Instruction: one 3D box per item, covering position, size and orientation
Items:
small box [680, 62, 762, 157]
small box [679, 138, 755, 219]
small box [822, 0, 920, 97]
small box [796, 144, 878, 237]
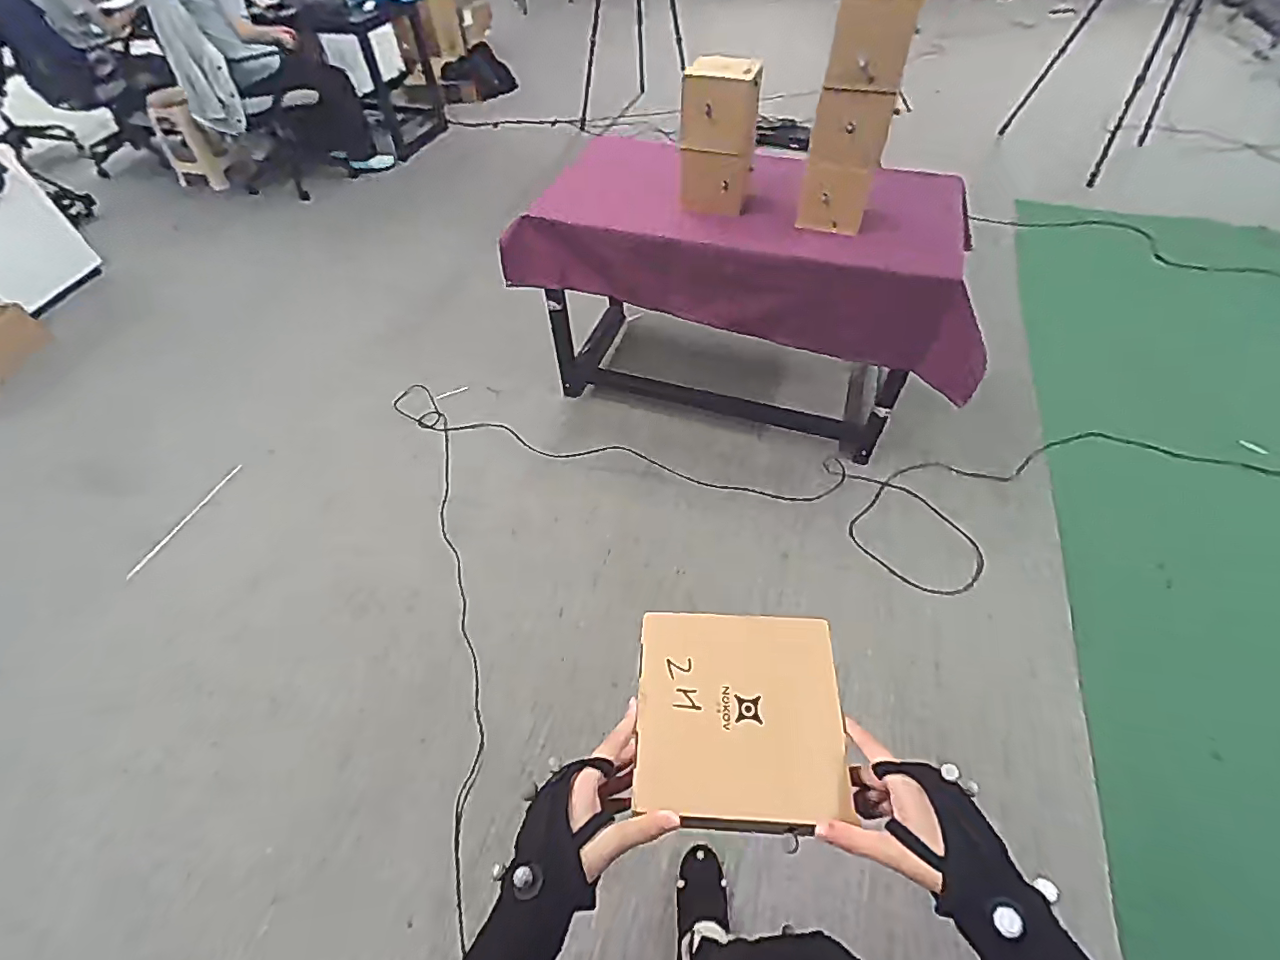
[{"bbox_3d":[0.210,-0.979,1.430,0.179,0.176,0.168,15,53,14],"label":"small box"},{"bbox_3d":[0.219,-0.876,1.558,0.179,0.176,0.168,15,53,14],"label":"small box"},{"bbox_3d":[0.519,-0.995,1.221,0.168,0.176,0.179,15,53,15],"label":"small box"},{"bbox_3d":[0.533,-0.790,1.478,0.168,0.176,0.179,16,53,15],"label":"small box"}]
